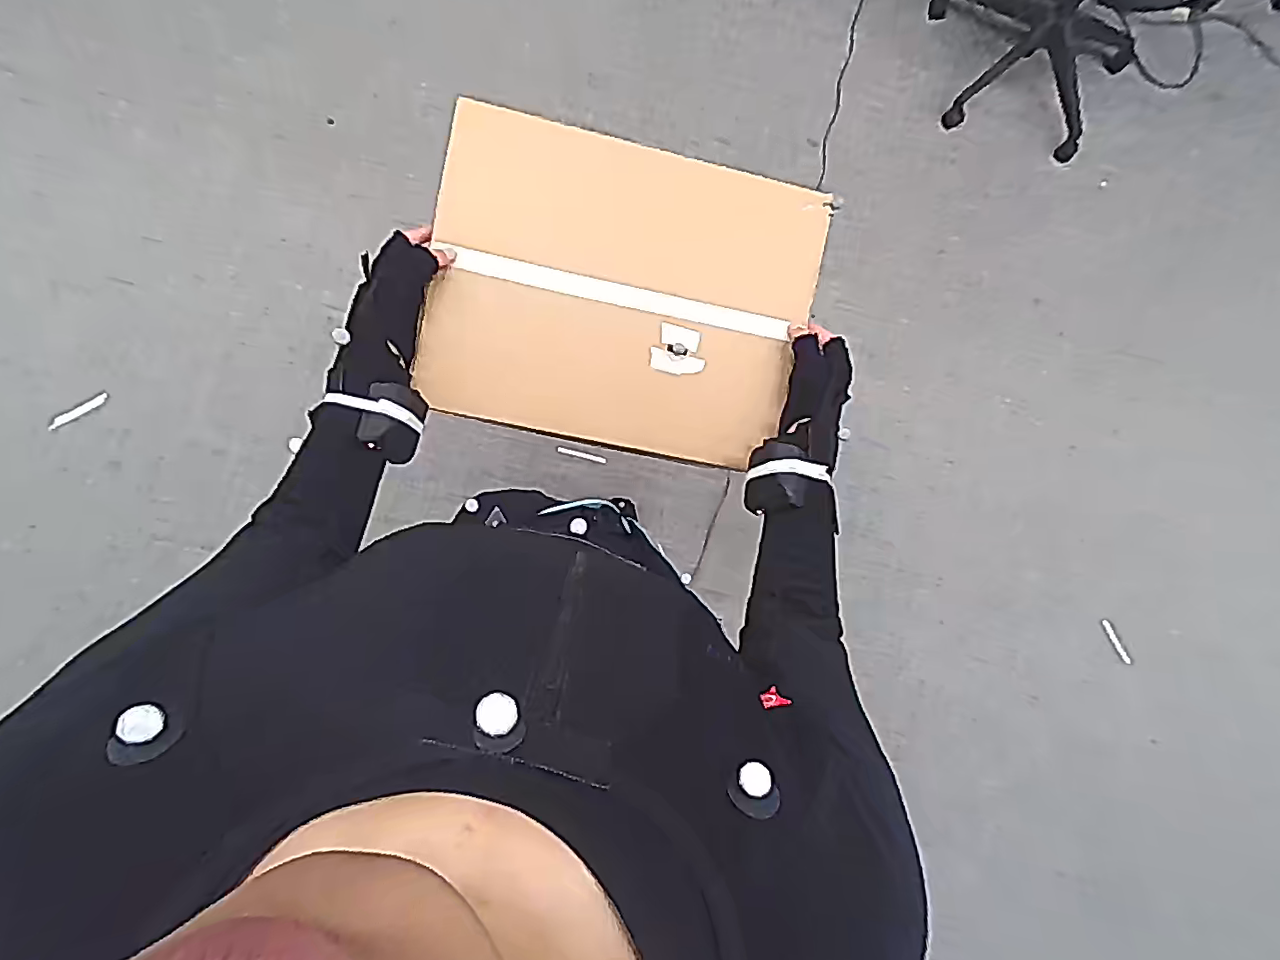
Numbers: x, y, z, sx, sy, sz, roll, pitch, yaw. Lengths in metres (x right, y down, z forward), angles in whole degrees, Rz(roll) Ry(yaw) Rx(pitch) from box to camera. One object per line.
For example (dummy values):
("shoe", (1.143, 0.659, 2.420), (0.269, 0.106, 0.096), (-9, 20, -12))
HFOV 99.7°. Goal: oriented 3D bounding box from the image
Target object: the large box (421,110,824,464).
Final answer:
("large box", (-0.031, -0.211, 0.736), (0.408, 0.320, 0.320), (11, 93, -7))
